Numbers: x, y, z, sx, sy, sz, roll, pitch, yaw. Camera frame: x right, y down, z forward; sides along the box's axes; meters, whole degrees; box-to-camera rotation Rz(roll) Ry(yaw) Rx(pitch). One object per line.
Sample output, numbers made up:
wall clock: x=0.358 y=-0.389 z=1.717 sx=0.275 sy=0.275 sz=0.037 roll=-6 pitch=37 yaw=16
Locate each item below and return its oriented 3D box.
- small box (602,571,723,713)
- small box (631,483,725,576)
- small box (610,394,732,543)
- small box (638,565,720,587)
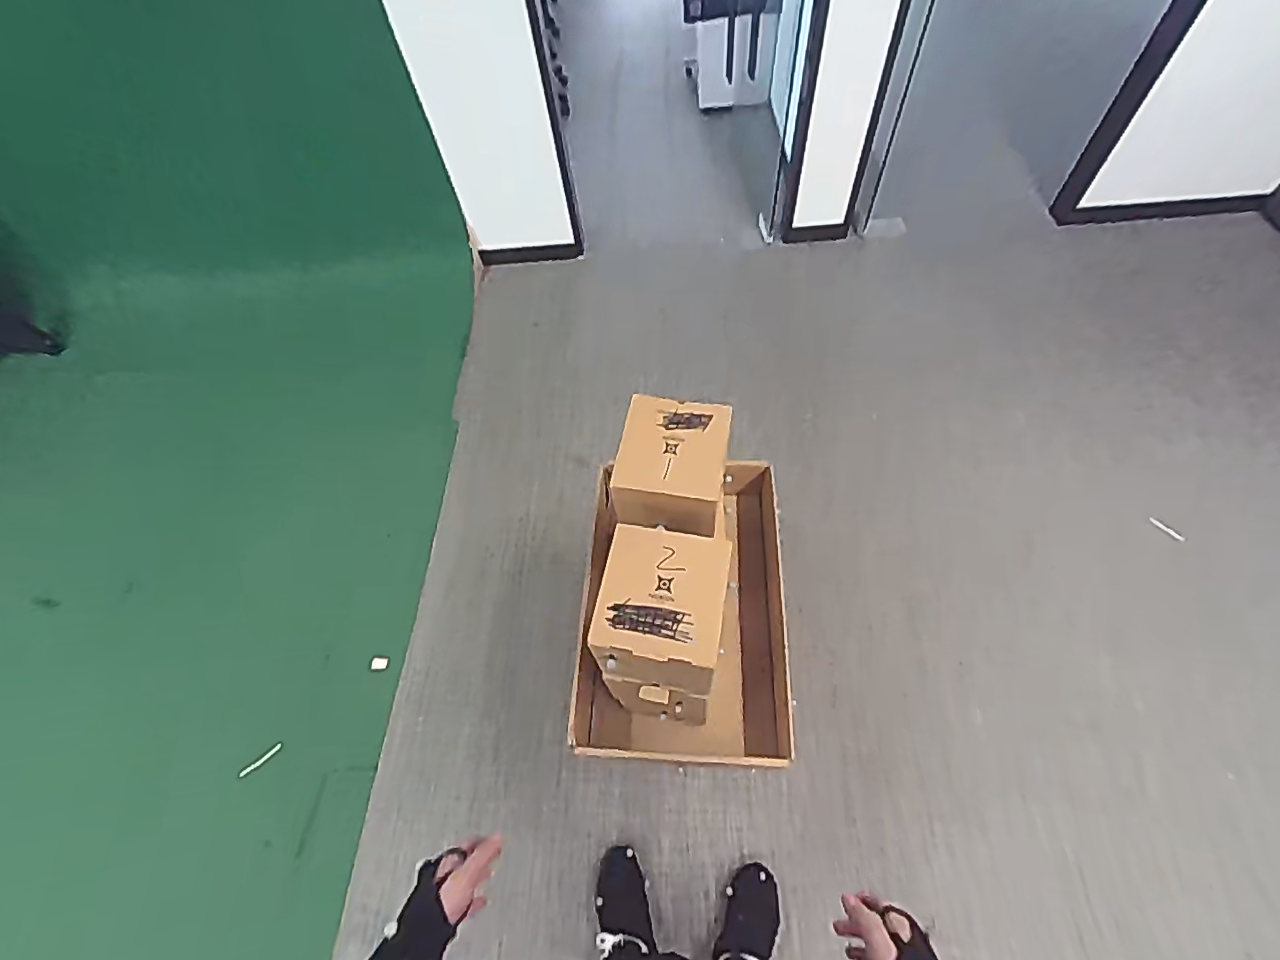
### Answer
small box: x=0.045 y=0.279 z=0.912 sx=0.168 sy=0.176 sz=0.179 roll=9 pitch=58 yaw=10
small box: x=0.073 y=0.071 z=1.042 sx=0.168 sy=0.176 sz=0.179 roll=0 pitch=61 yaw=5
small box: x=0.056 y=-0.016 z=0.904 sx=0.168 sy=0.176 sz=0.179 roll=8 pitch=62 yaw=10
small box: x=0.088 y=0.152 z=1.182 sx=0.168 sy=0.176 sz=0.179 roll=0 pitch=60 yaw=6
